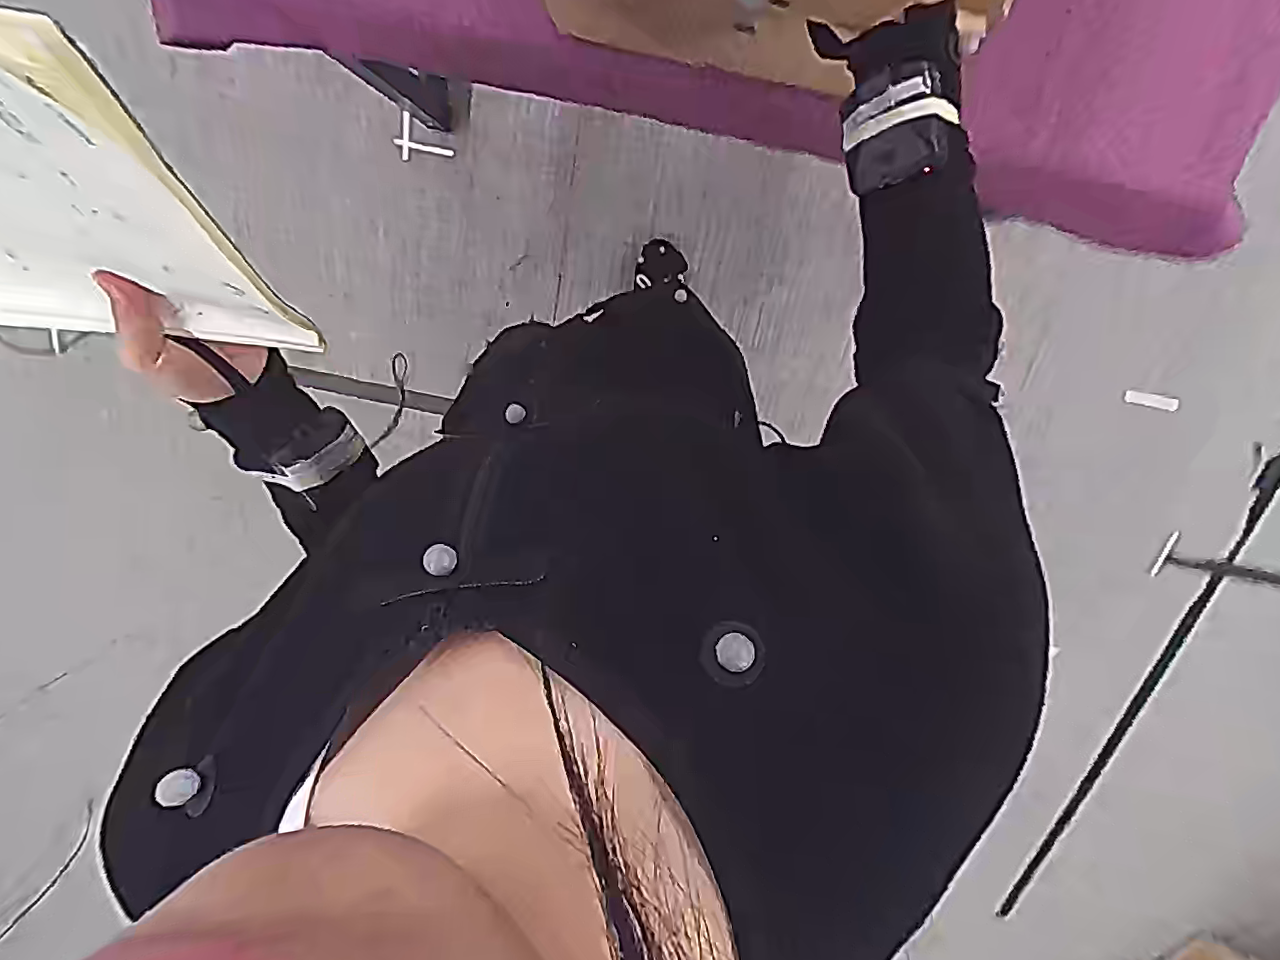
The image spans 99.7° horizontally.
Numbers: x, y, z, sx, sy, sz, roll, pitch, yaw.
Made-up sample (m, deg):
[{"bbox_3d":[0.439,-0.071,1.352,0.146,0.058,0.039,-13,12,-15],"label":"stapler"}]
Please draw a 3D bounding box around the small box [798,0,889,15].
[{"bbox_3d":[0.083,-0.340,0.235,0.168,0.176,0.179,11,123,-3],"label":"small box"}]
